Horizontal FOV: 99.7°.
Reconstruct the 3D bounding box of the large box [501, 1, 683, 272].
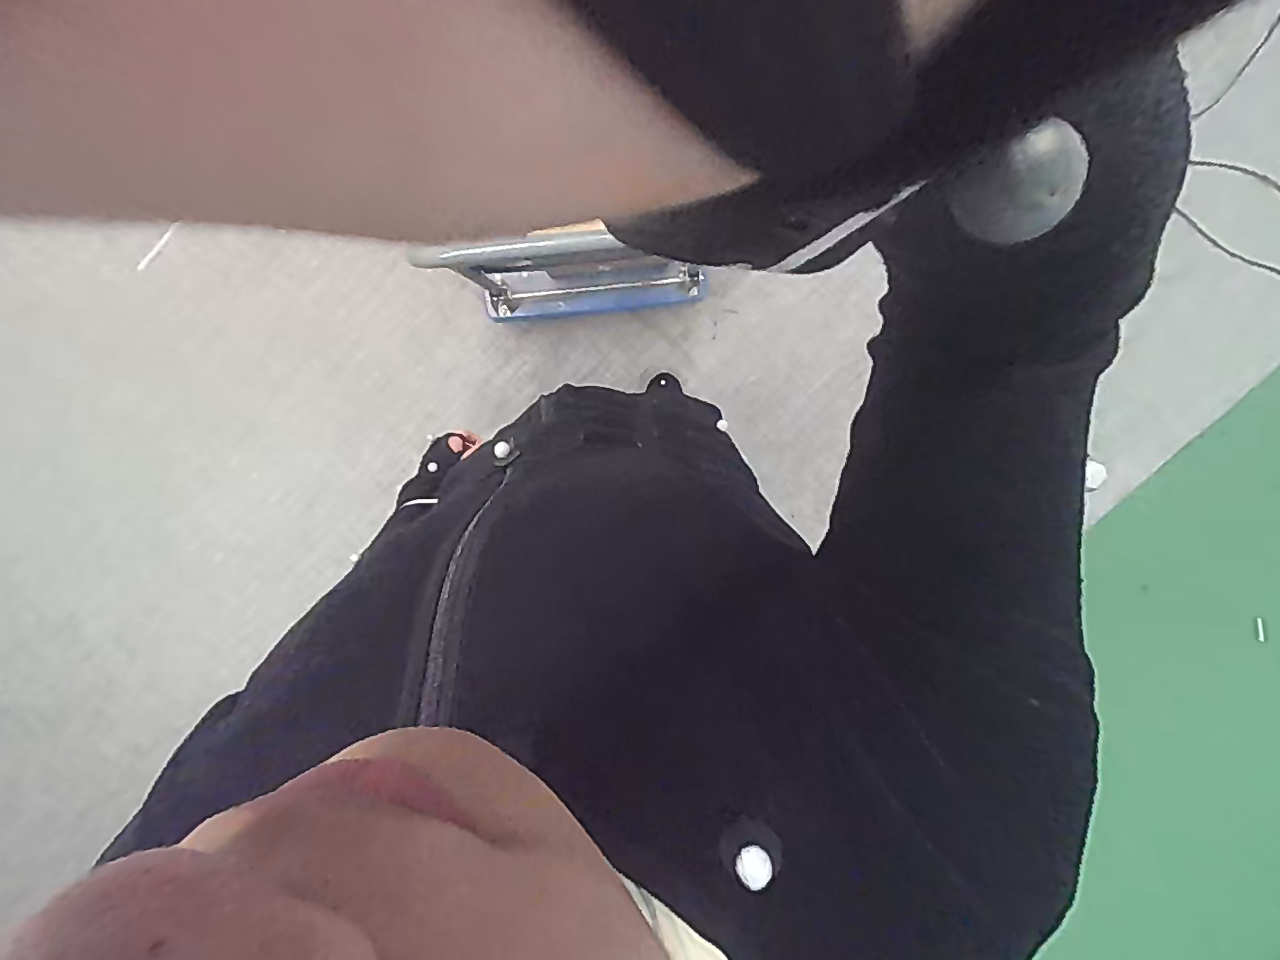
[{"bbox_3d":[-0.092,-0.719,1.200,0.320,0.320,0.408,-6,99,-1],"label":"large box"}]
